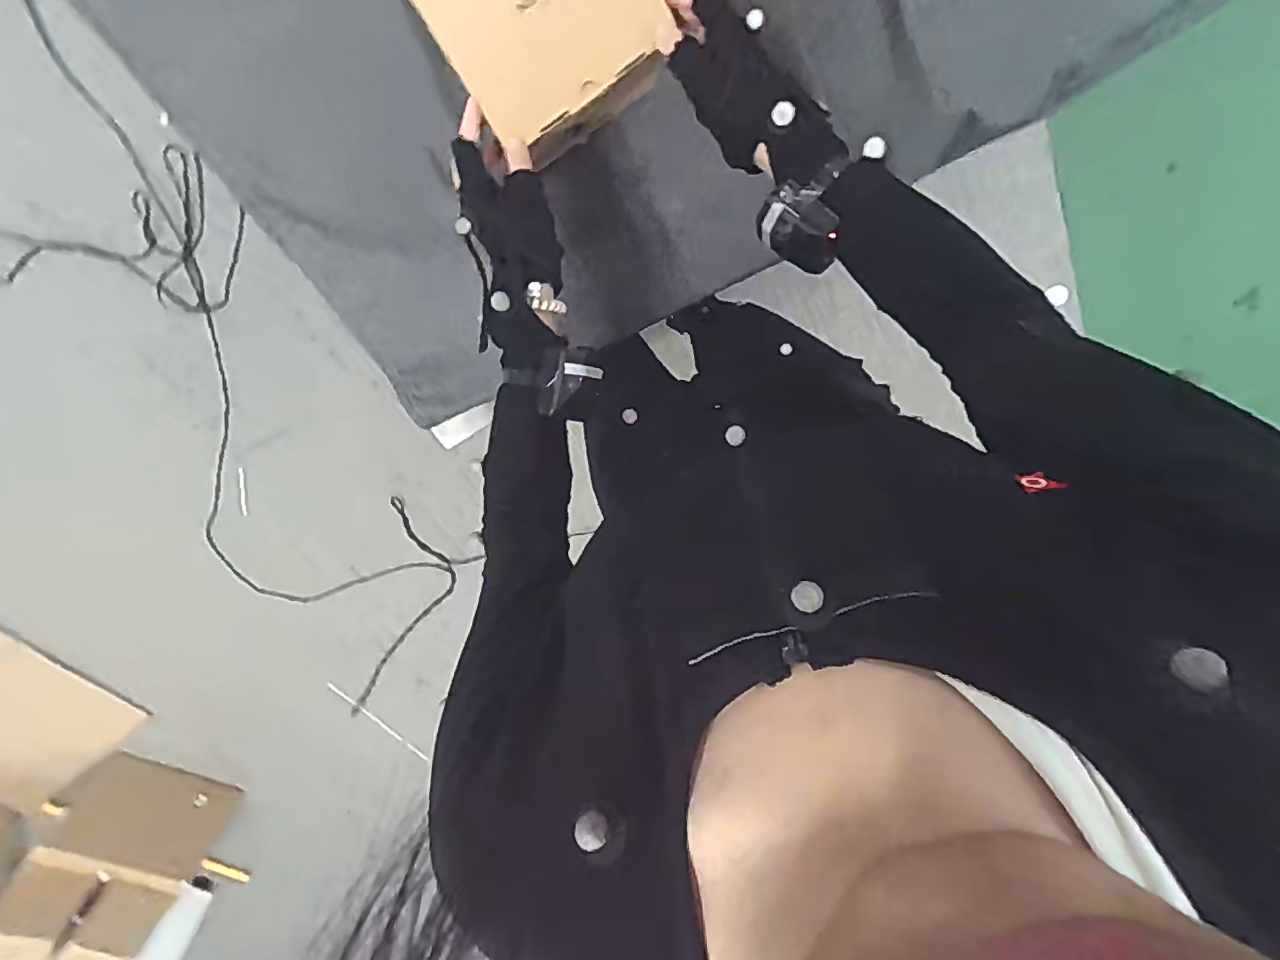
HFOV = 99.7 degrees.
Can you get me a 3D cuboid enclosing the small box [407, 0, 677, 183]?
[{"bbox_3d":[-0.092,-0.397,0.481,0.168,0.176,0.179,-32,114,8],"label":"small box"}]
